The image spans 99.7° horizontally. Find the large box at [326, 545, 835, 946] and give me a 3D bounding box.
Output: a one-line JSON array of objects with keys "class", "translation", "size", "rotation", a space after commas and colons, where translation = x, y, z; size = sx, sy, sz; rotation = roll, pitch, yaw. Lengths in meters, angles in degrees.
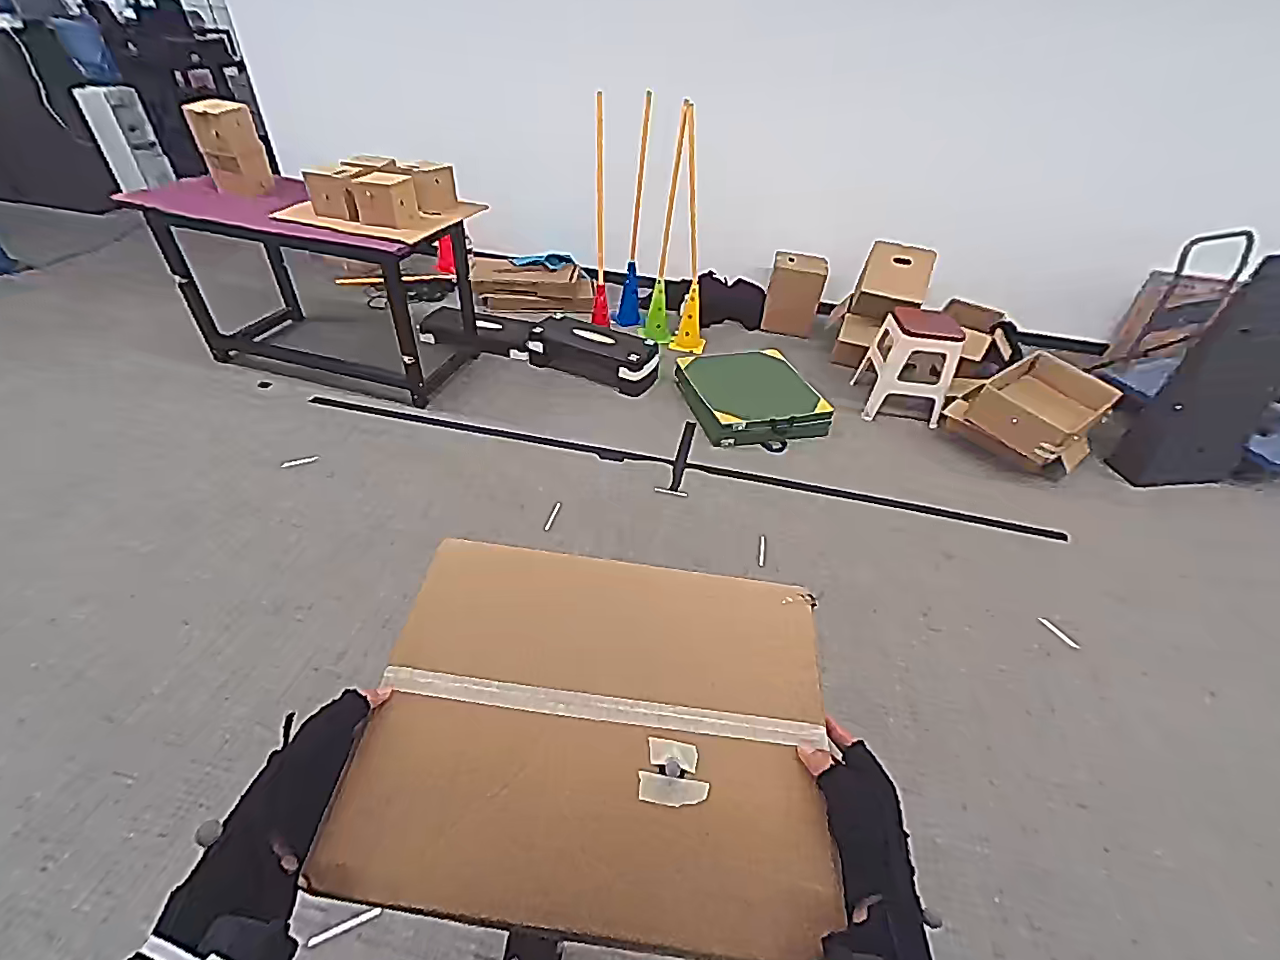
[{"class": "large box", "translation": [-0.044, 0.307, 0.620], "size": [0.408, 0.320, 0.320], "rotation": [8, 50, 1]}]
